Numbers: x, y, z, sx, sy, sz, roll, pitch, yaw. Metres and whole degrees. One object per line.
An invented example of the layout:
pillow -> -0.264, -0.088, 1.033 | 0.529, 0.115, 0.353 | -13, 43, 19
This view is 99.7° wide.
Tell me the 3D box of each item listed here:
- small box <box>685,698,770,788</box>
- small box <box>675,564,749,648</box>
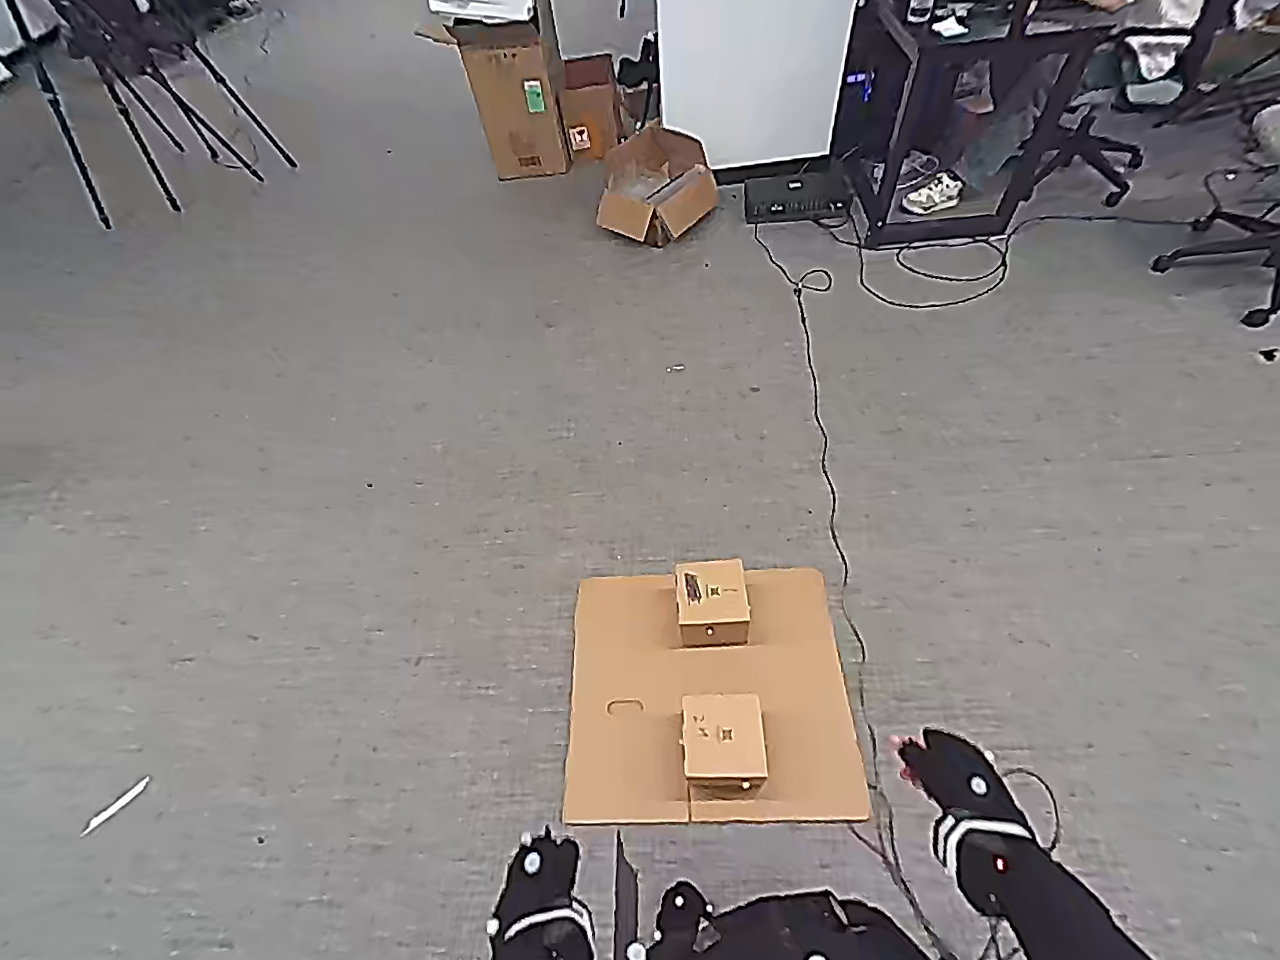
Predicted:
small box -> 0.195, 0.604, 1.240 | 0.179, 0.176, 0.168 | -4, 55, 7
small box -> 0.190, 0.336, 1.428 | 0.179, 0.176, 0.168 | -5, 55, 5
